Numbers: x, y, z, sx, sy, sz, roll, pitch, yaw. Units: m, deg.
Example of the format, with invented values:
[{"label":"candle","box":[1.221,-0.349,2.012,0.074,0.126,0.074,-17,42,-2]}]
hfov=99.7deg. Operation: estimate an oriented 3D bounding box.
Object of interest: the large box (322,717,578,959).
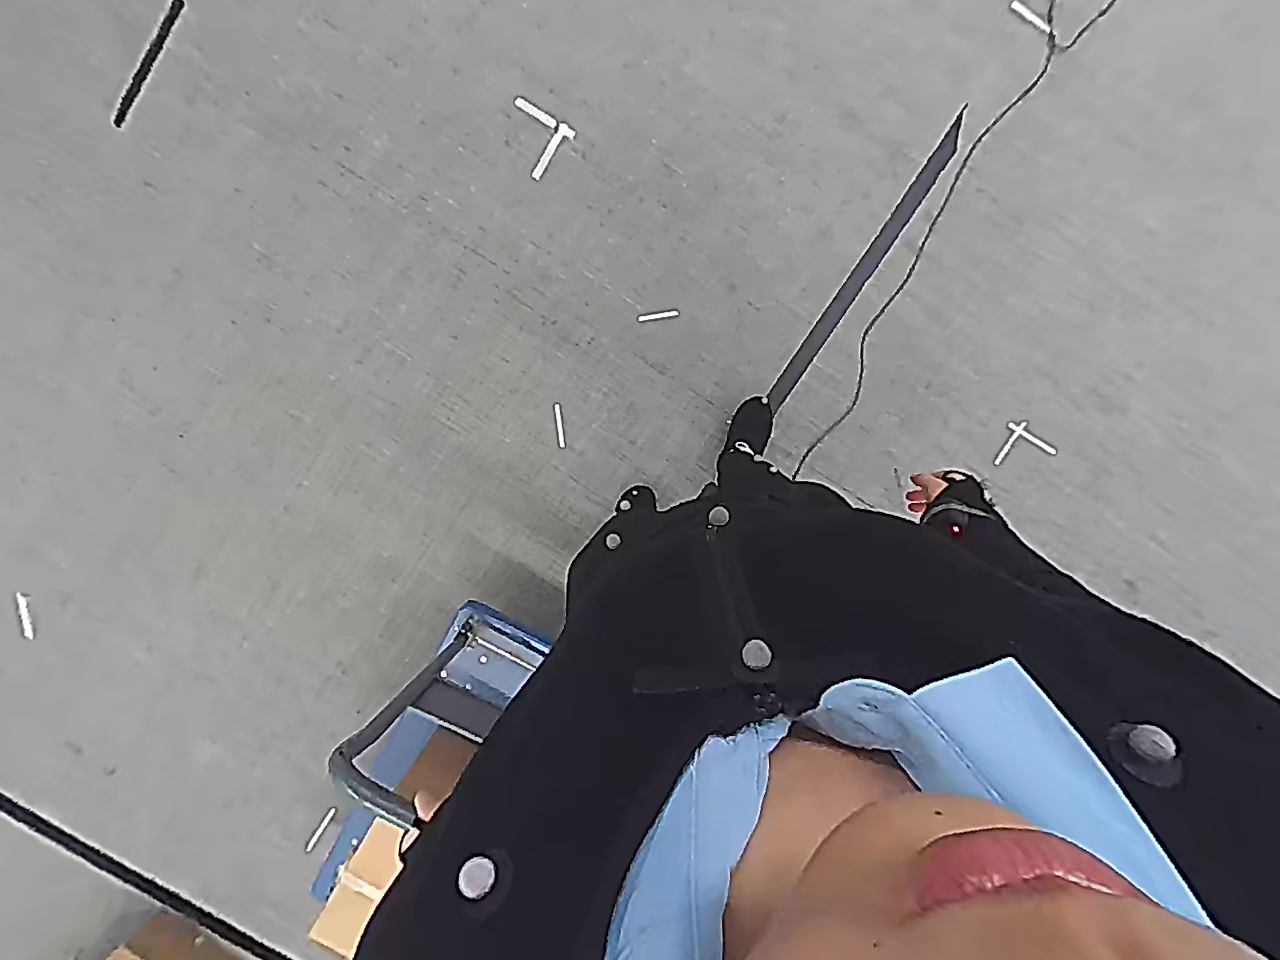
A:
[{"label":"large box","box":[-0.396,0.824,1.228,0.408,0.320,0.320,30,94,-3]}]
